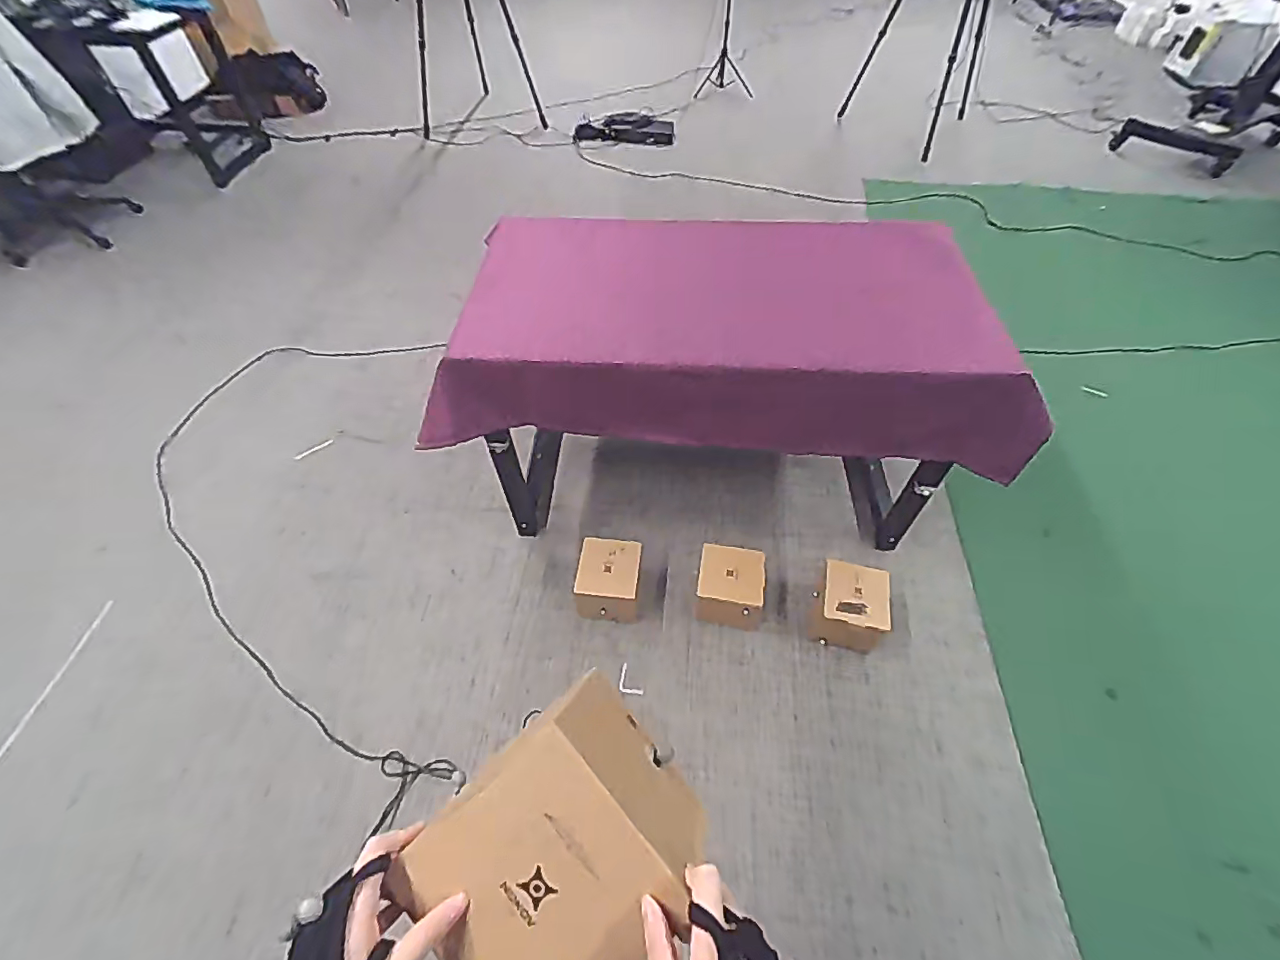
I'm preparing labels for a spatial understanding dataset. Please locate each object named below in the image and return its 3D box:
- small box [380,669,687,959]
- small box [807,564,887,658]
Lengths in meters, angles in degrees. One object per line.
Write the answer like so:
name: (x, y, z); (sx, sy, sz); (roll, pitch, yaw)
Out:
small box: (-0.072, 0.298, 0.471); (0.179, 0.176, 0.168); (-41, 82, 2)
small box: (0.561, 0.361, 1.481); (0.168, 0.176, 0.179); (12, 48, 8)
